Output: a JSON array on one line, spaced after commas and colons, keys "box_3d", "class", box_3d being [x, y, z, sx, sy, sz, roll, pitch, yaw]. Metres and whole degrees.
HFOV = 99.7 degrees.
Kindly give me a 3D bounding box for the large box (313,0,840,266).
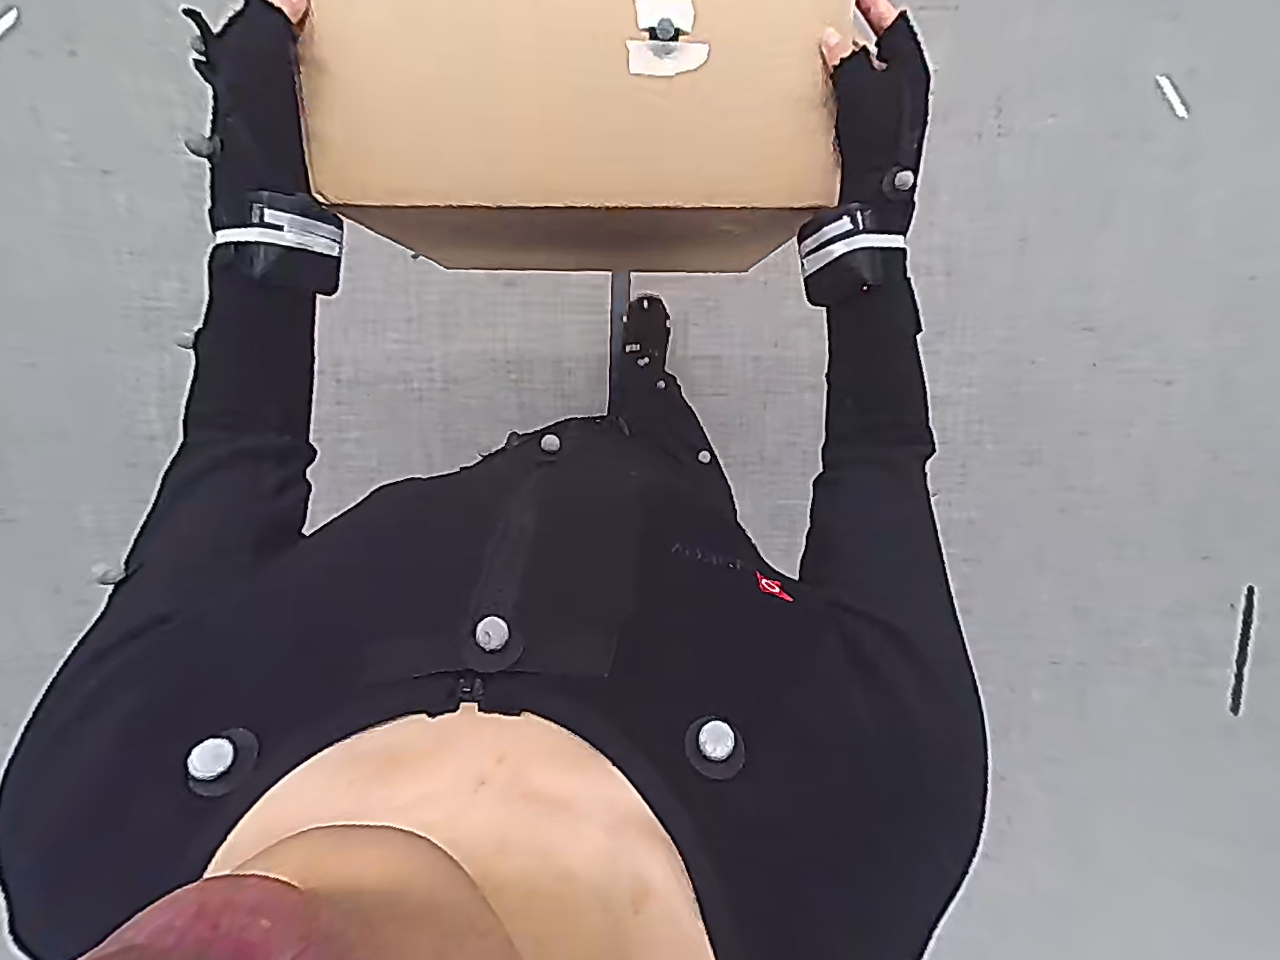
[{"box_3d": [-0.051, -0.408, 0.549, 0.408, 0.320, 0.320, -1, 103, -2], "class": "large box"}]
